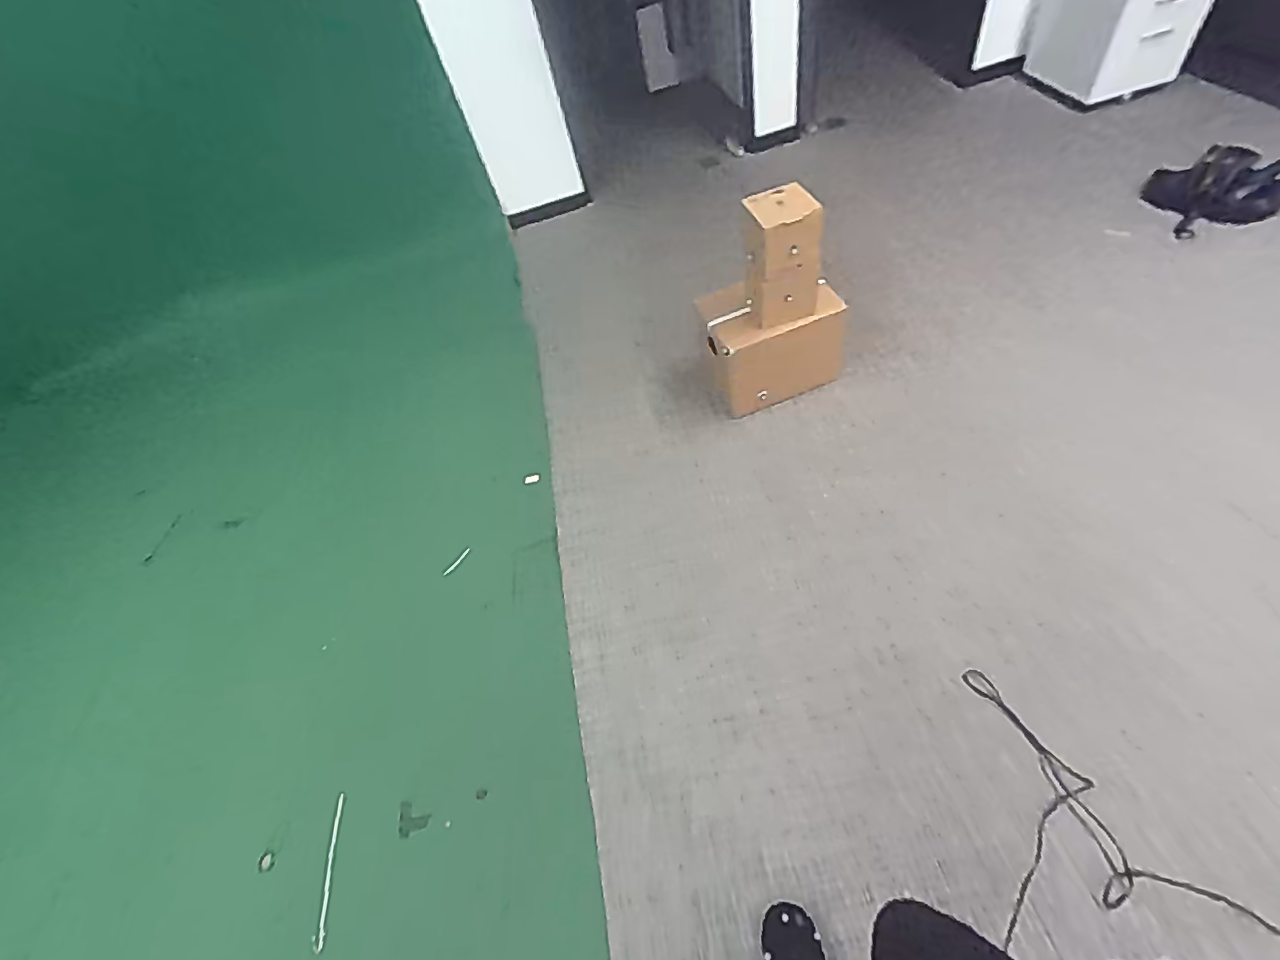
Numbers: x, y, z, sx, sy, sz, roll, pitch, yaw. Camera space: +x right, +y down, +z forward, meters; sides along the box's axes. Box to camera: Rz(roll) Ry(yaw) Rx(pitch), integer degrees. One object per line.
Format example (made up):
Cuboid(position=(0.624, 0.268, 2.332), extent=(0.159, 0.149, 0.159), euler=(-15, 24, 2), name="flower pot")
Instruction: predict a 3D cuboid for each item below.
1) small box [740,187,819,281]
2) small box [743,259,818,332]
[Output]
Cuboid(position=(0.394, -0.689, 1.536), extent=(0.168, 0.176, 0.179), euler=(-18, 53, 0), name="small box")
Cuboid(position=(0.426, -0.587, 1.660), extent=(0.179, 0.176, 0.168), euler=(-18, 52, 2), name="small box")
